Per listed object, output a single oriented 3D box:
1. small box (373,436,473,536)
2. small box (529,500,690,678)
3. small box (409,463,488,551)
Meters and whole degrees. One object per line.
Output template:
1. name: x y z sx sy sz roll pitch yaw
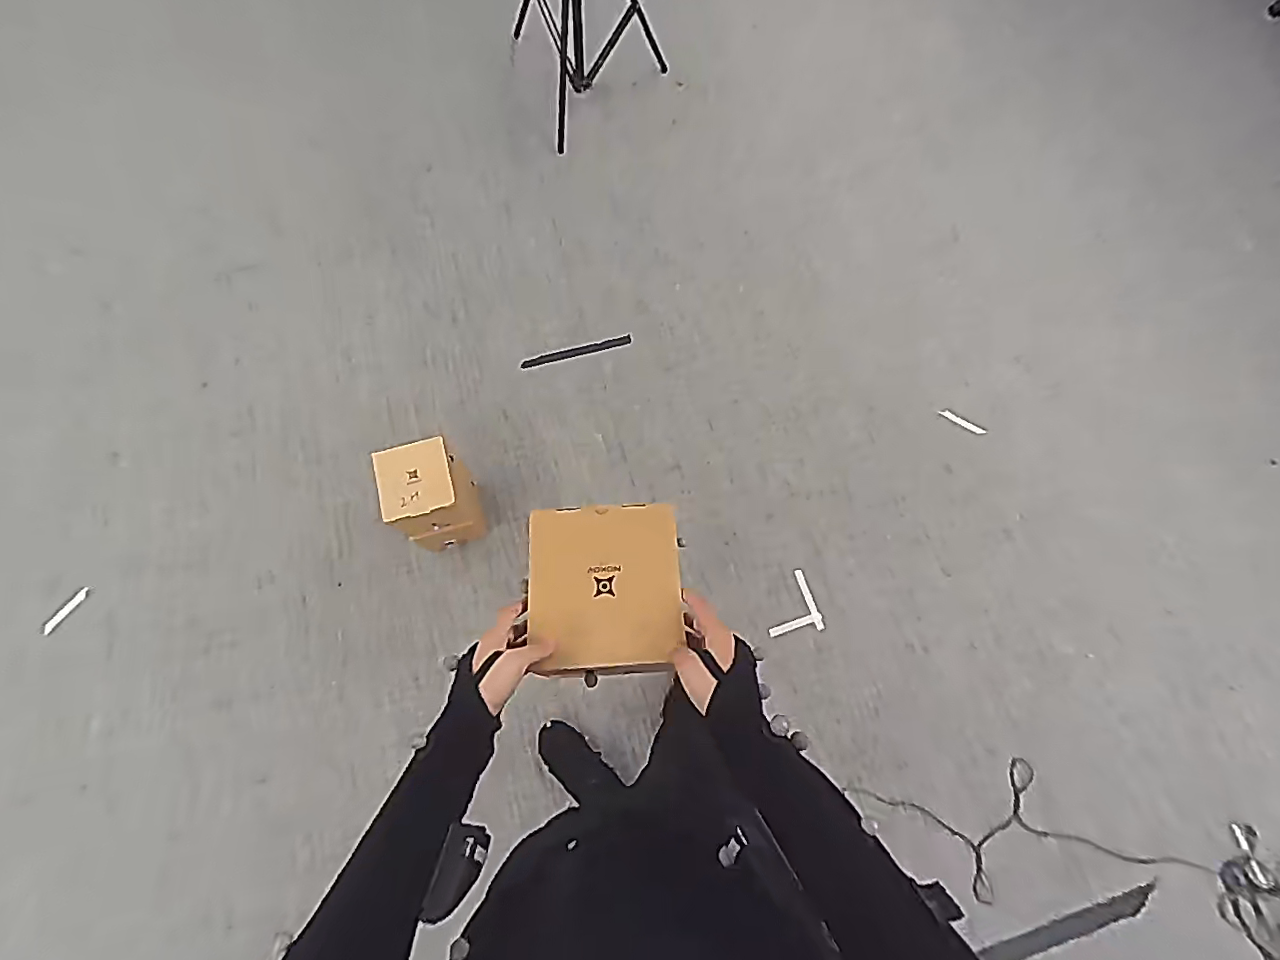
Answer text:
1. small box: -0.516 0.020 1.301 0.168 0.176 0.179 -15 75 -6
2. small box: -0.034 0.137 0.643 0.168 0.176 0.179 -3 66 -3
3. small box: -0.522 0.076 1.456 0.168 0.176 0.179 -15 74 -7
